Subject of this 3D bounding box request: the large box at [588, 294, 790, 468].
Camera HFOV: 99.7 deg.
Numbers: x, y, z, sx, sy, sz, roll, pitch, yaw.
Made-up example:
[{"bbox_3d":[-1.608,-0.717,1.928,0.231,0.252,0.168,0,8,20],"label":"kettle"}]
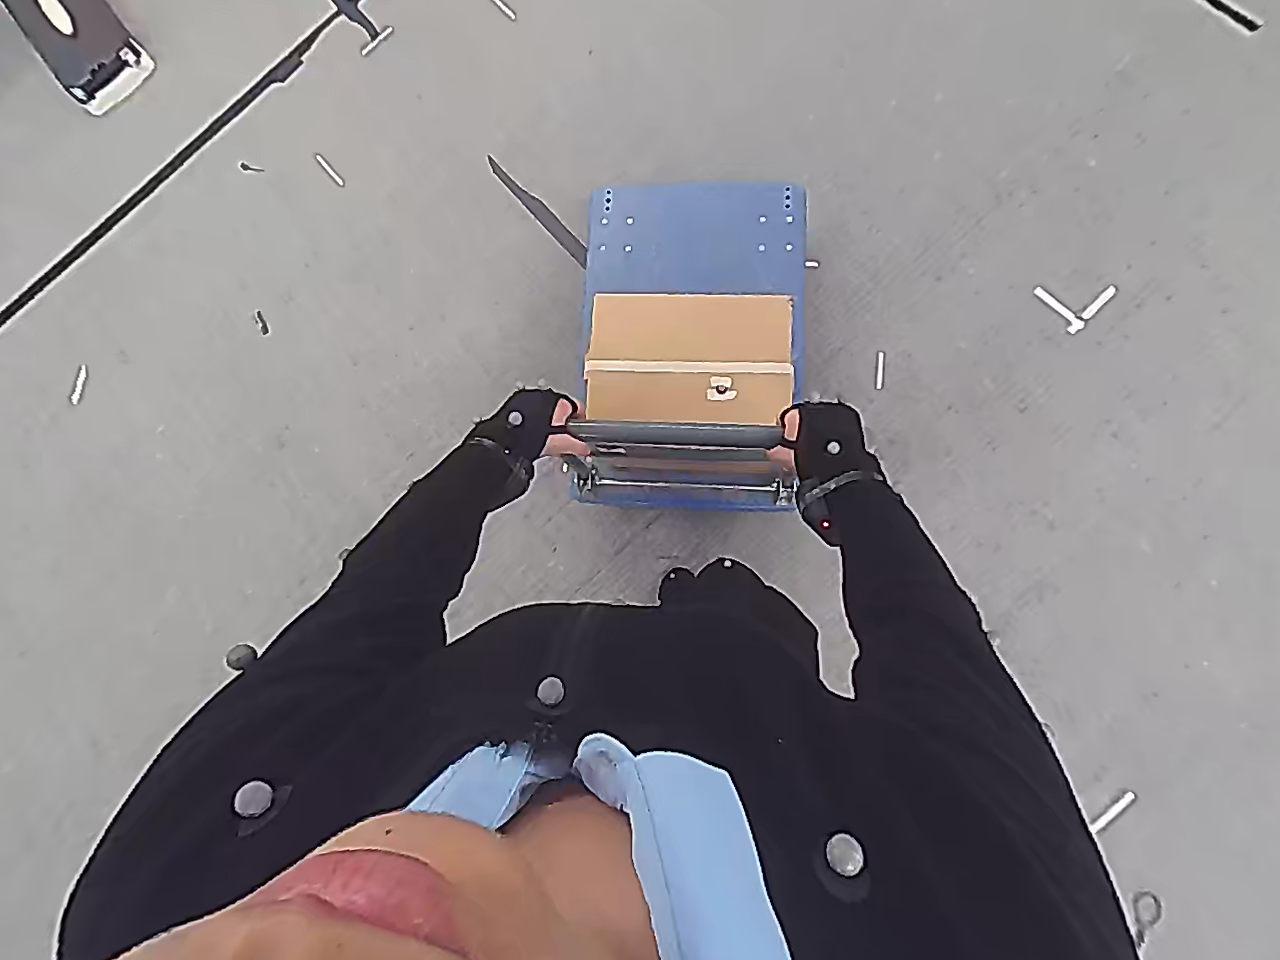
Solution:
[{"bbox_3d":[0.107,-0.206,1.230,0.408,0.320,0.320,2,82,4],"label":"large box"}]
